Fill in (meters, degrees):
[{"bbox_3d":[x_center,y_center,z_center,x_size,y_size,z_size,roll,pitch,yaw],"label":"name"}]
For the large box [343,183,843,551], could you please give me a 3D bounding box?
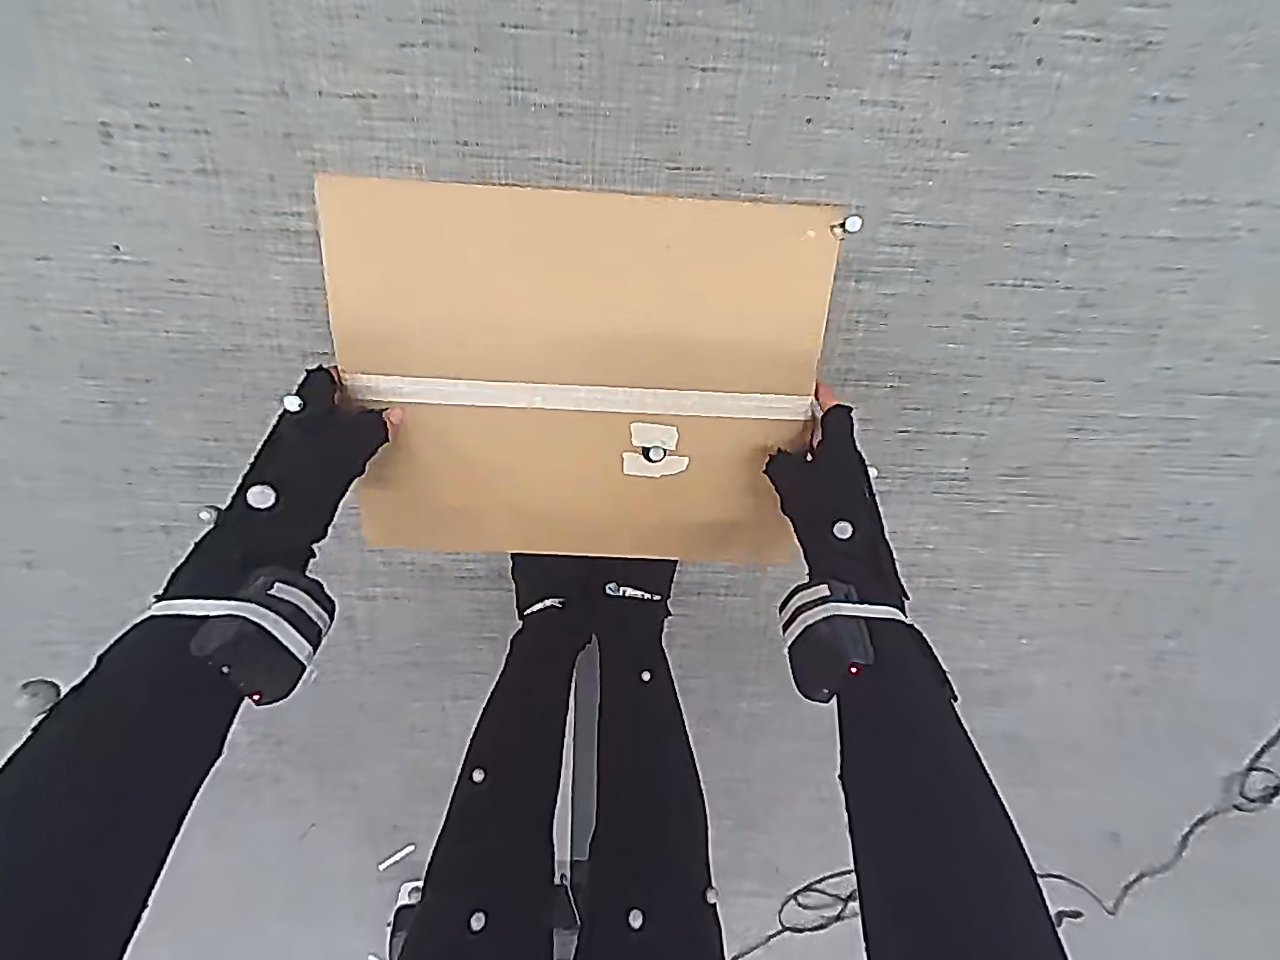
[{"bbox_3d":[-0.046,-0.129,0.615,0.408,0.320,0.320,3,111,-2],"label":"large box"}]
